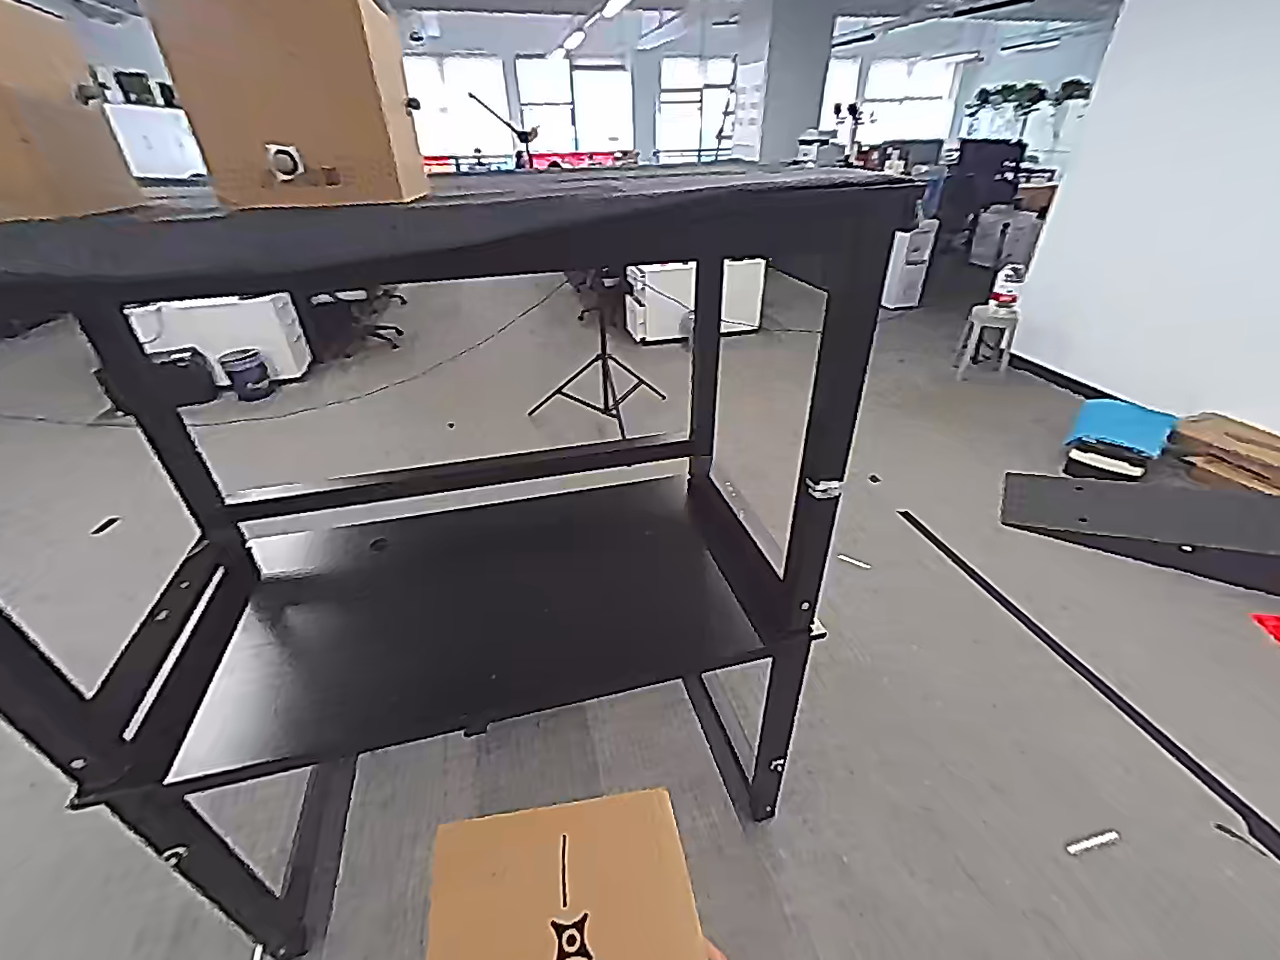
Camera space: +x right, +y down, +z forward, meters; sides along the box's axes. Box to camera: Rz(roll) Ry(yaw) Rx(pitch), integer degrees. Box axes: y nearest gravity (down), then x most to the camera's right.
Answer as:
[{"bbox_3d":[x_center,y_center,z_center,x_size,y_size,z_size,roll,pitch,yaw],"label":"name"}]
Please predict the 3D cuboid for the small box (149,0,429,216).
[{"bbox_3d":[-0.319,-0.362,0.537,0.168,0.176,0.179,-8,32,-9],"label":"small box"}]

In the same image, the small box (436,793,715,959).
[{"bbox_3d":[-0.044,0.351,0.363,0.168,0.176,0.179,-1,35,-13],"label":"small box"}]
